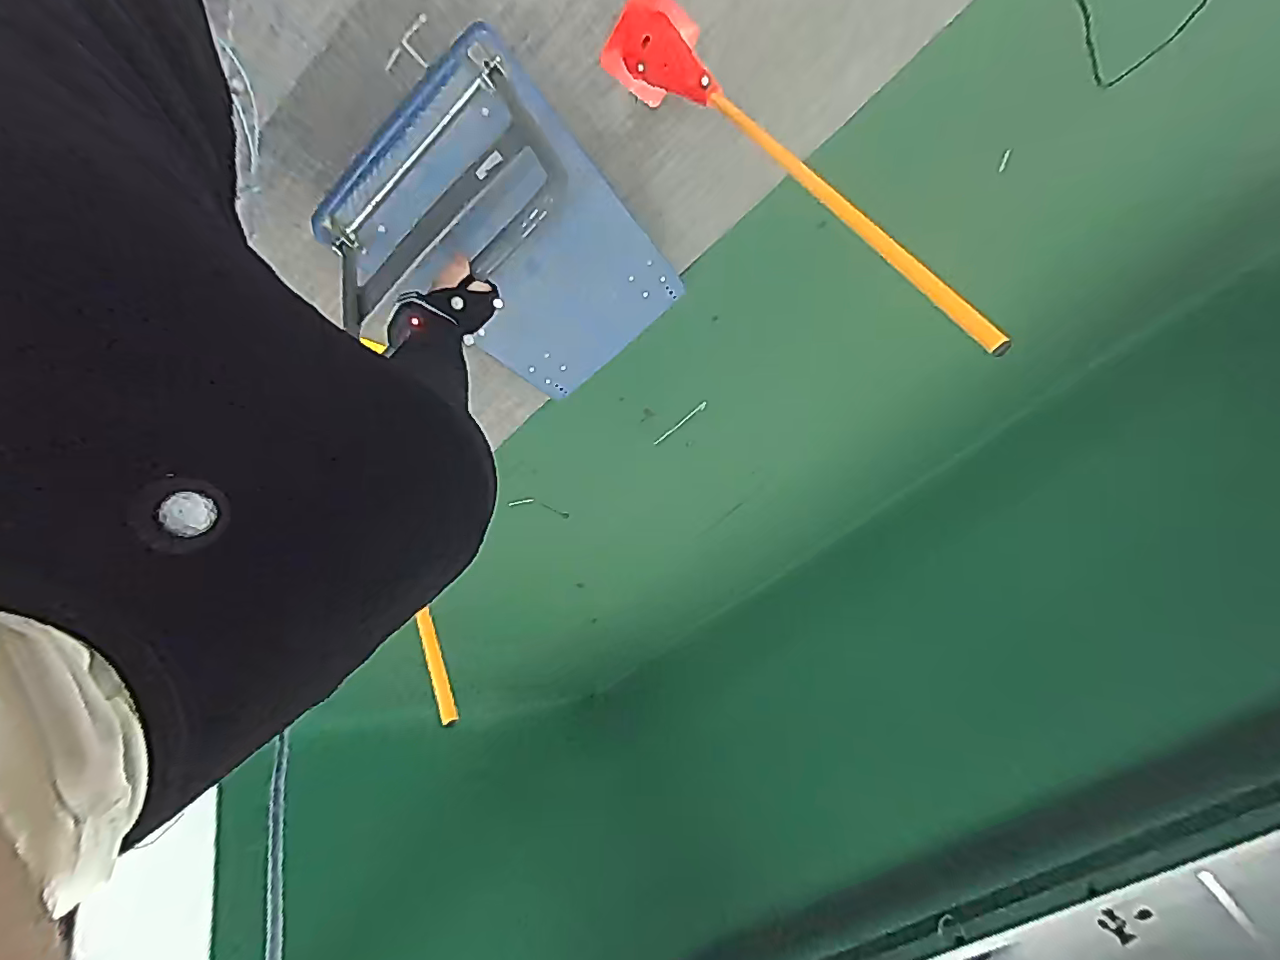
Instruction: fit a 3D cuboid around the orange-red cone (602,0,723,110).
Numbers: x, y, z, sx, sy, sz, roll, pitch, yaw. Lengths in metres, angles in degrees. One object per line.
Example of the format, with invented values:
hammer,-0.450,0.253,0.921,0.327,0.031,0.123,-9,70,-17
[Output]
orange-red cone,0.089,-0.929,1.233,0.198,0.360,0.199,10,130,-43
